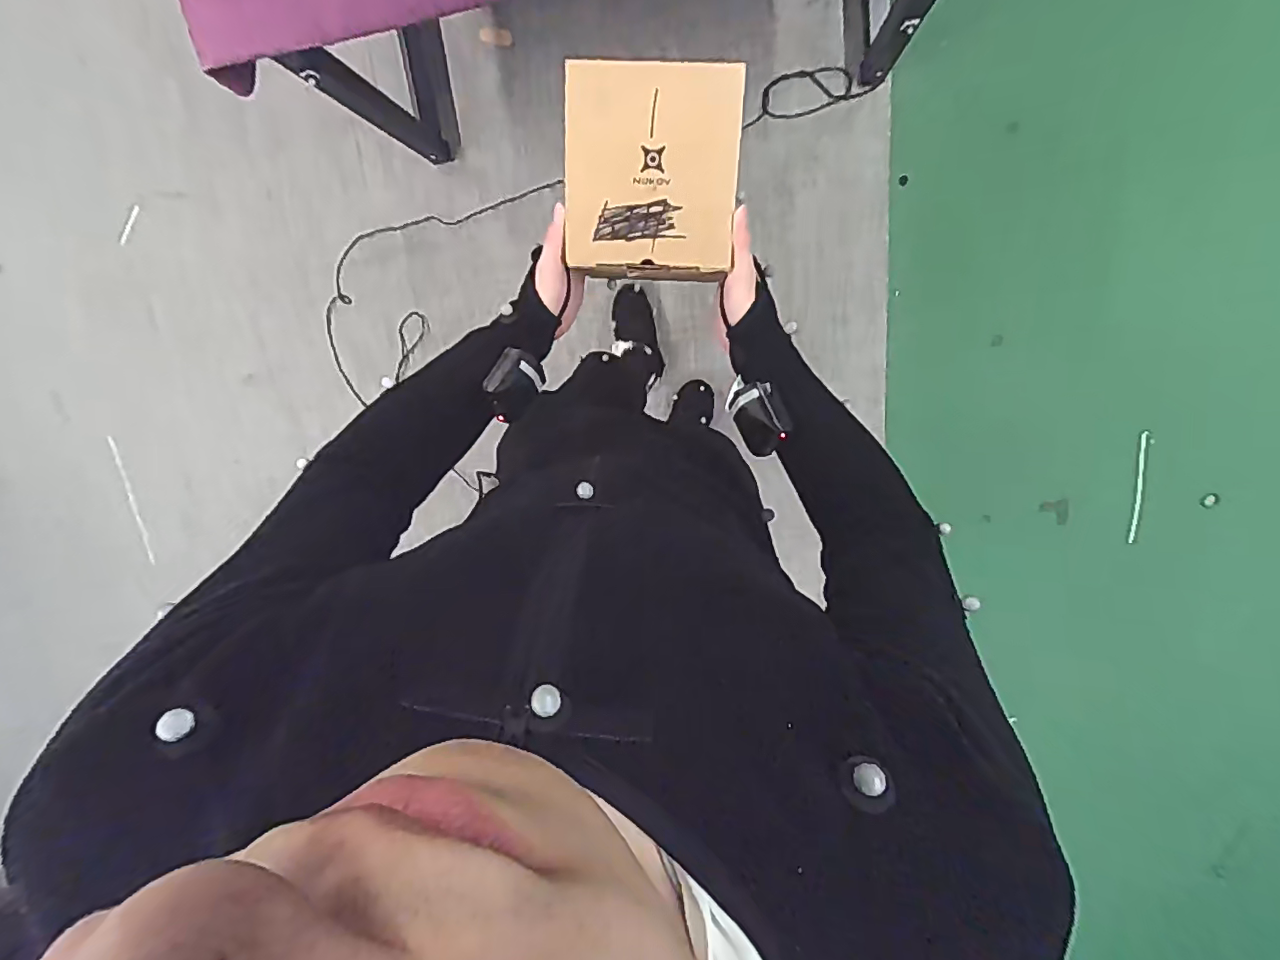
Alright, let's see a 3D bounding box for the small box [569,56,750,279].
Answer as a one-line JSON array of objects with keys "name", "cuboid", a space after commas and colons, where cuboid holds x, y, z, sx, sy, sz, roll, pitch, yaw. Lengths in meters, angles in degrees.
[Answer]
[{"name": "small box", "cuboid": [0.018, -0.316, 0.582, 0.168, 0.176, 0.179, 2, 106, 2]}]
